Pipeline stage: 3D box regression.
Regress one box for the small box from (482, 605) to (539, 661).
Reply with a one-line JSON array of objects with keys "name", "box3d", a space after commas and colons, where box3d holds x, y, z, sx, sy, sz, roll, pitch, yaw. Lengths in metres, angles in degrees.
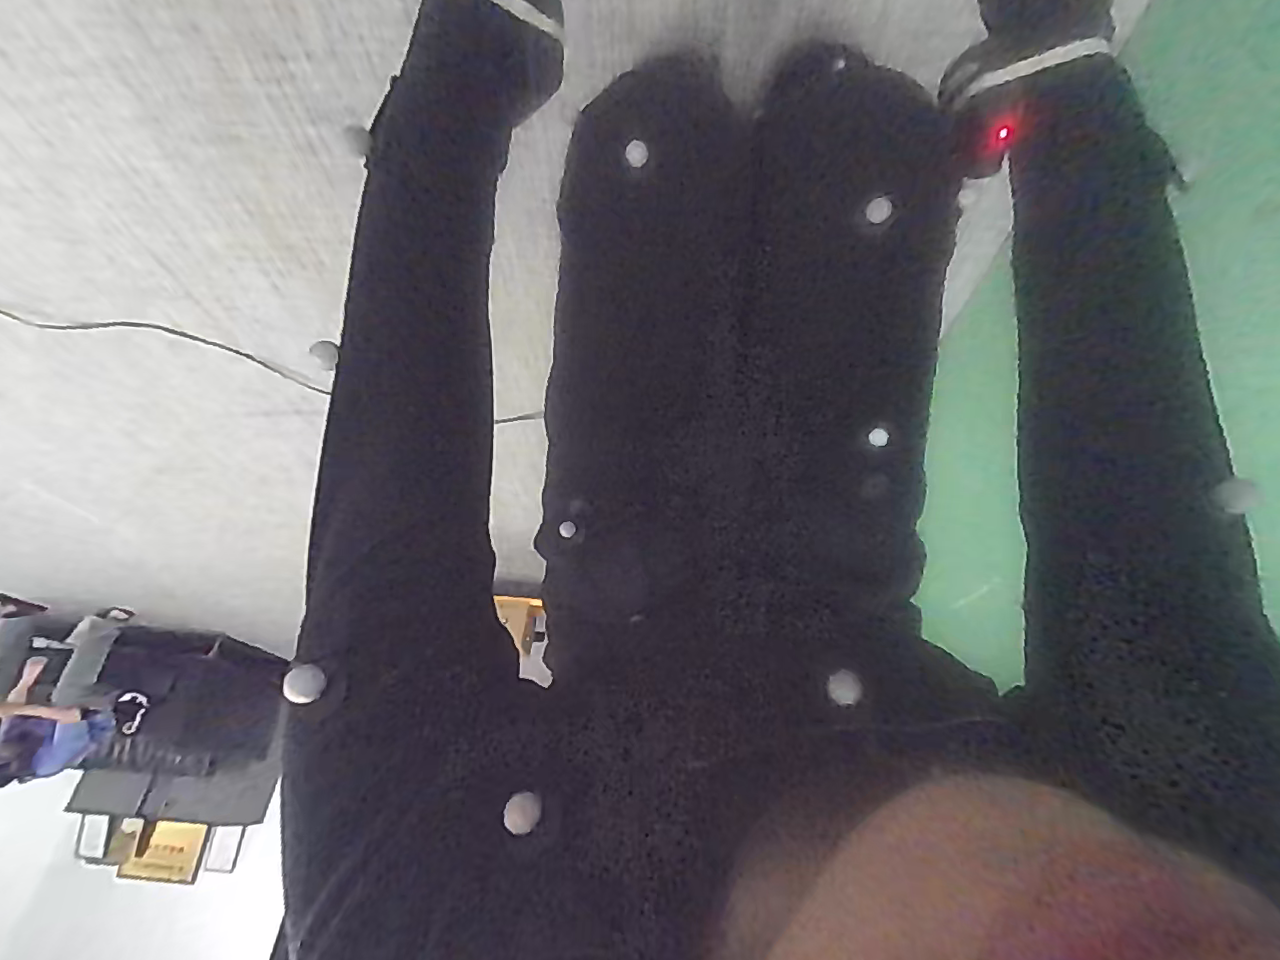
[{"name": "small box", "box3d": [-0.498, 0.594, 2.102, 0.168, 0.176, 0.179, 3, 148, 4]}]
